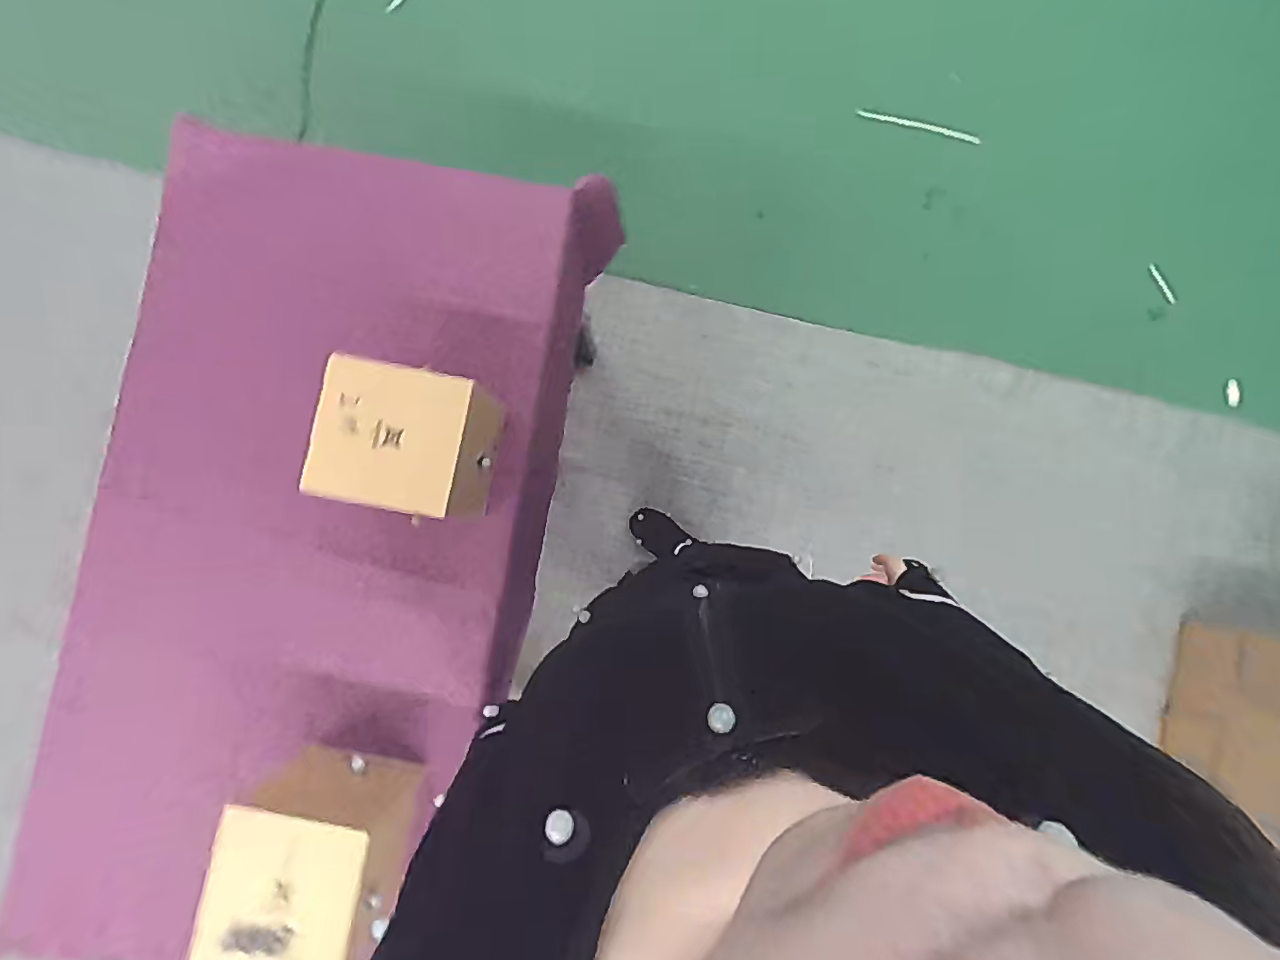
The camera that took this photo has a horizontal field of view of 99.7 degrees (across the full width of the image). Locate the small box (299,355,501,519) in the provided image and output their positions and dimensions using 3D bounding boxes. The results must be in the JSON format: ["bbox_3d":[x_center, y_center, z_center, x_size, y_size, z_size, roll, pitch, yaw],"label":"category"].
[{"bbox_3d":[-0.298,-0.047,0.712,0.179,0.176,0.168,11,86,1],"label":"small box"}]

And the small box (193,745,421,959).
[{"bbox_3d":[-0.397,0.466,0.678,0.168,0.176,0.179,10,85,0],"label":"small box"}]
